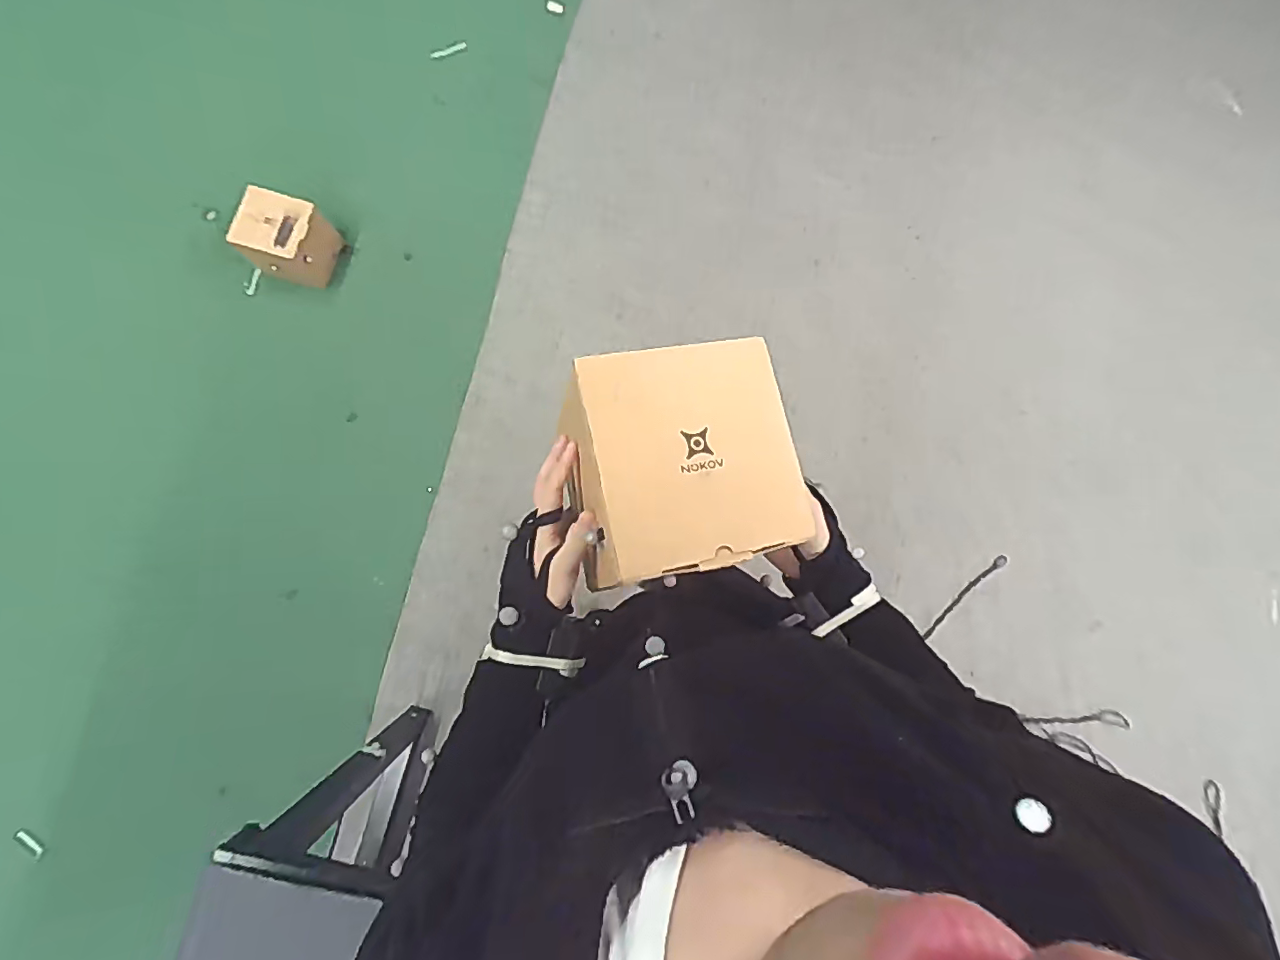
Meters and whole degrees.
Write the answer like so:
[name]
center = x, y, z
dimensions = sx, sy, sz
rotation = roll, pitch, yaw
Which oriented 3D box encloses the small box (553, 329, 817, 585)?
[small box]
center = 0.023, -0.011, 0.486
dimensions = 0.168, 0.176, 0.179
rotation = -11, 80, -16
